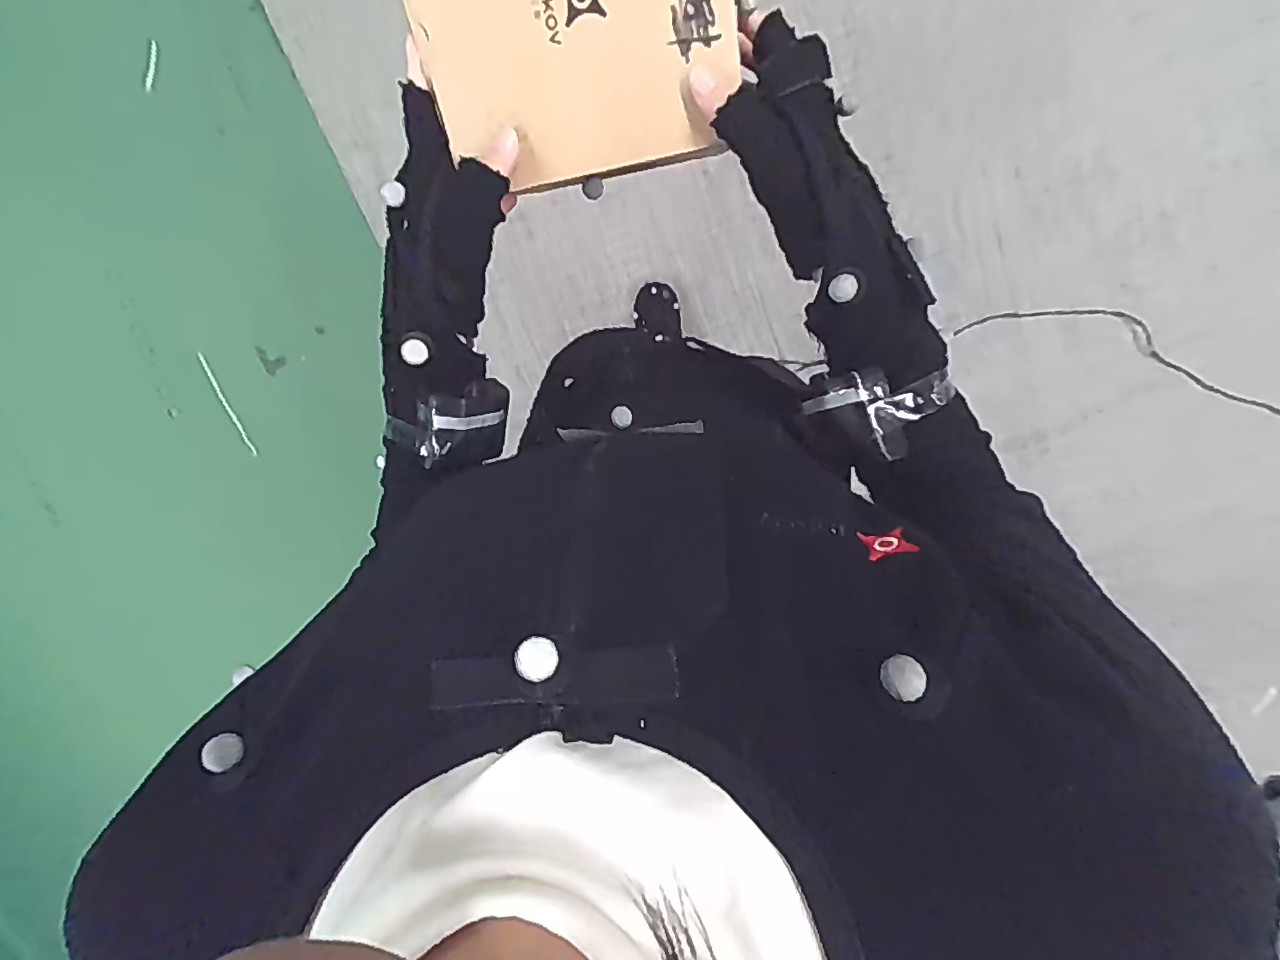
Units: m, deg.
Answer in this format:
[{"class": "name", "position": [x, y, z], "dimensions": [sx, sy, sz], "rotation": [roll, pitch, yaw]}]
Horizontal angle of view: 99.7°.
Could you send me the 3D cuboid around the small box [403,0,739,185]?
[{"class": "small box", "position": [-0.037, -0.305, 0.355], "dimensions": [0.179, 0.176, 0.168], "rotation": [-10, 115, 10]}]
